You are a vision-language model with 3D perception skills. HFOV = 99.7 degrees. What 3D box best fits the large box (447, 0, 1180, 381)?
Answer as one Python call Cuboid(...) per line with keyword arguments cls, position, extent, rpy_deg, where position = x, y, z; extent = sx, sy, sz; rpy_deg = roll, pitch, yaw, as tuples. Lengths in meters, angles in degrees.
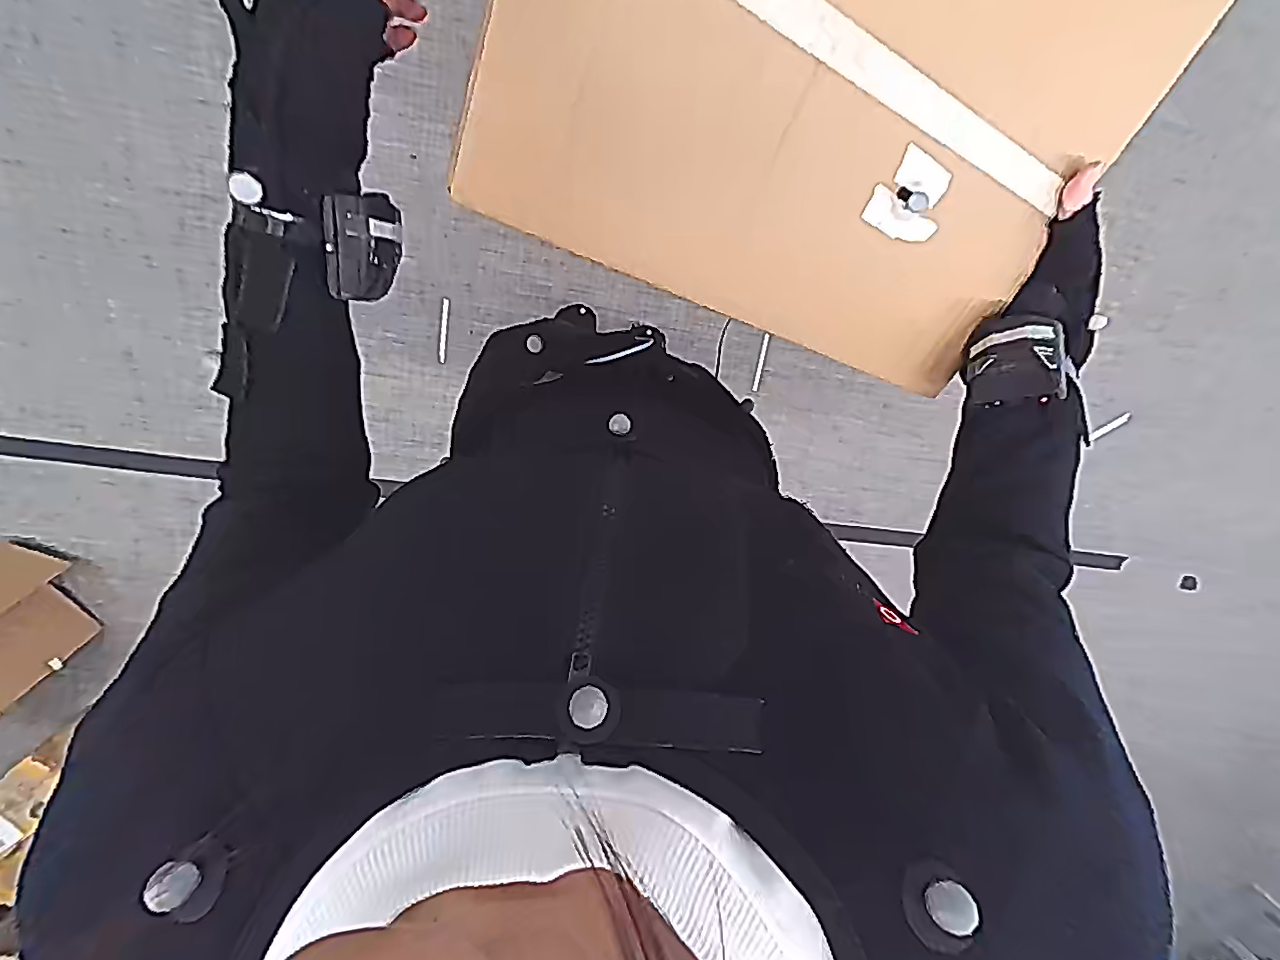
Cuboid(cls="large box", position=(0.082, -0.327, 0.442), extent=(0.408, 0.320, 0.320), rpy_deg=(12, 121, -24))
